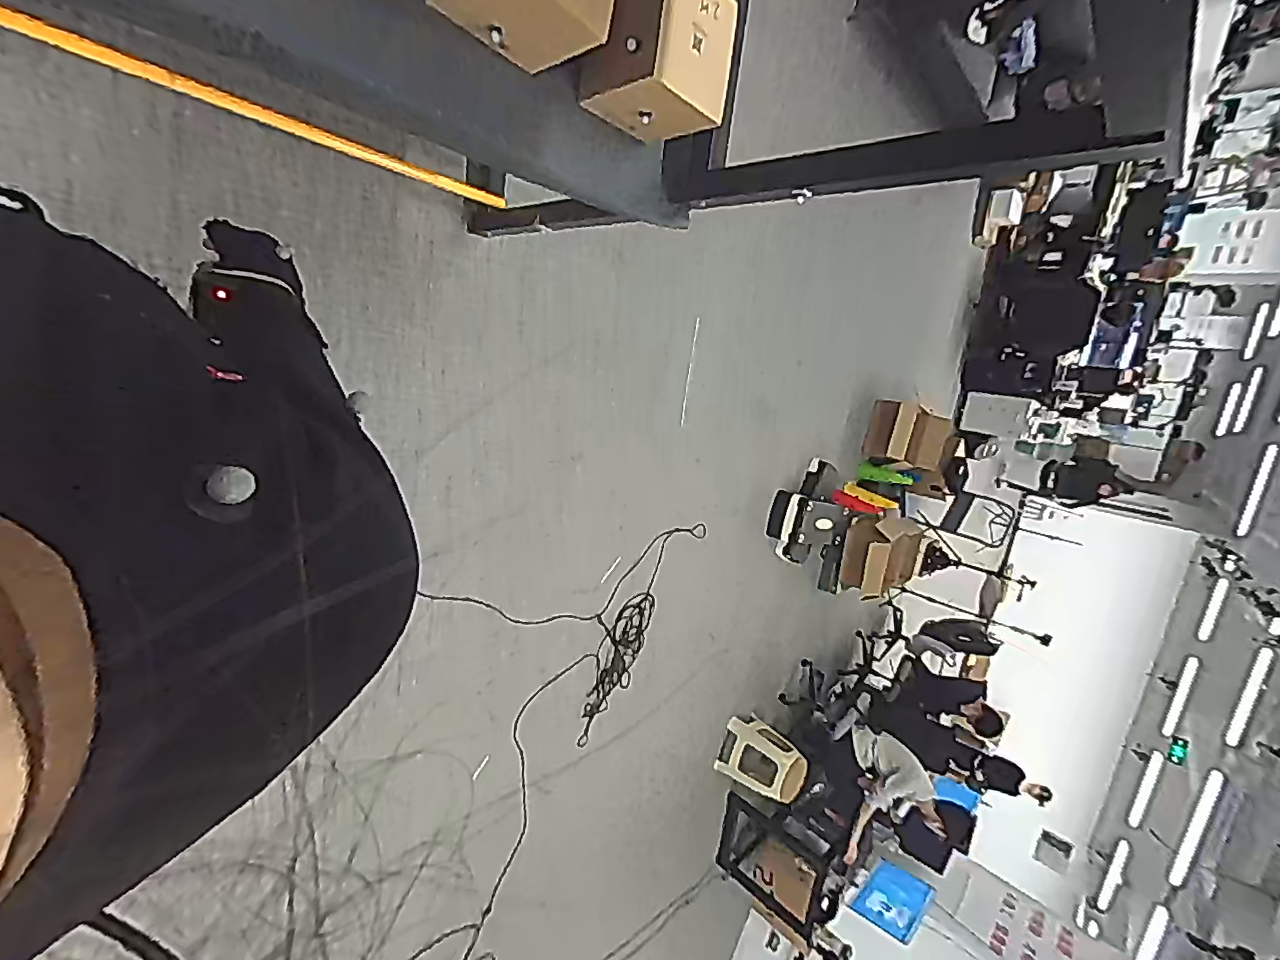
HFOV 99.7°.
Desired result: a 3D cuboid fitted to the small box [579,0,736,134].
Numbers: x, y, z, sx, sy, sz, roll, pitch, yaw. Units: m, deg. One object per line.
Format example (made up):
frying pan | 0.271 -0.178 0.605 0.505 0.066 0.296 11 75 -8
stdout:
small box | 0.023 -0.675 0.846 0.168 0.176 0.179 -5 107 -47
